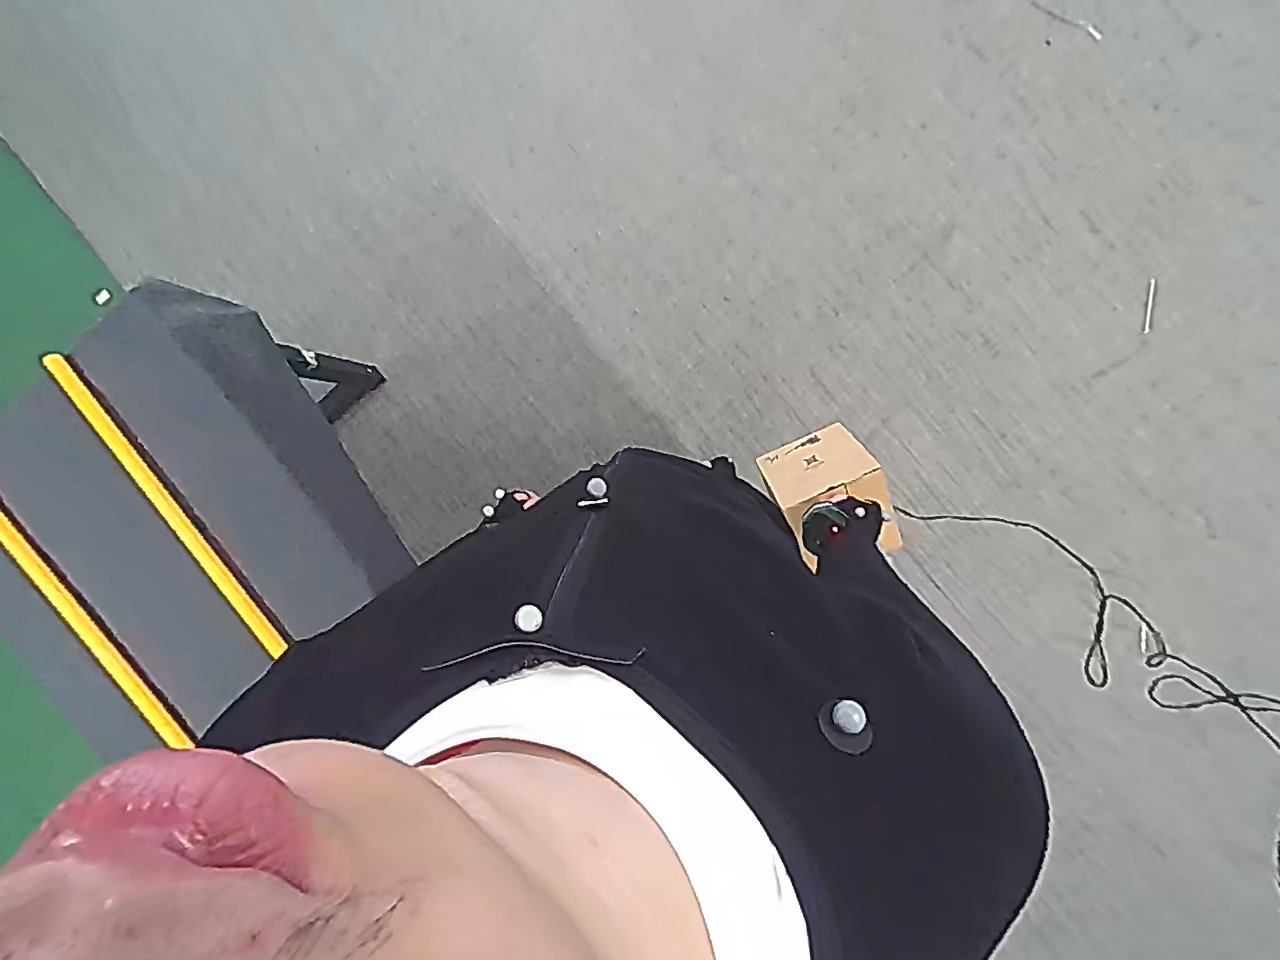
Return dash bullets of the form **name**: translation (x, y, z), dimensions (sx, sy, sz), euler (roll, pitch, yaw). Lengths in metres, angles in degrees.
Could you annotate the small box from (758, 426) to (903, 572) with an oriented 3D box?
- **small box**: translation (0.333, 0.039, 0.951), dimensions (0.168, 0.179, 0.176), euler (-26, 118, 8)
